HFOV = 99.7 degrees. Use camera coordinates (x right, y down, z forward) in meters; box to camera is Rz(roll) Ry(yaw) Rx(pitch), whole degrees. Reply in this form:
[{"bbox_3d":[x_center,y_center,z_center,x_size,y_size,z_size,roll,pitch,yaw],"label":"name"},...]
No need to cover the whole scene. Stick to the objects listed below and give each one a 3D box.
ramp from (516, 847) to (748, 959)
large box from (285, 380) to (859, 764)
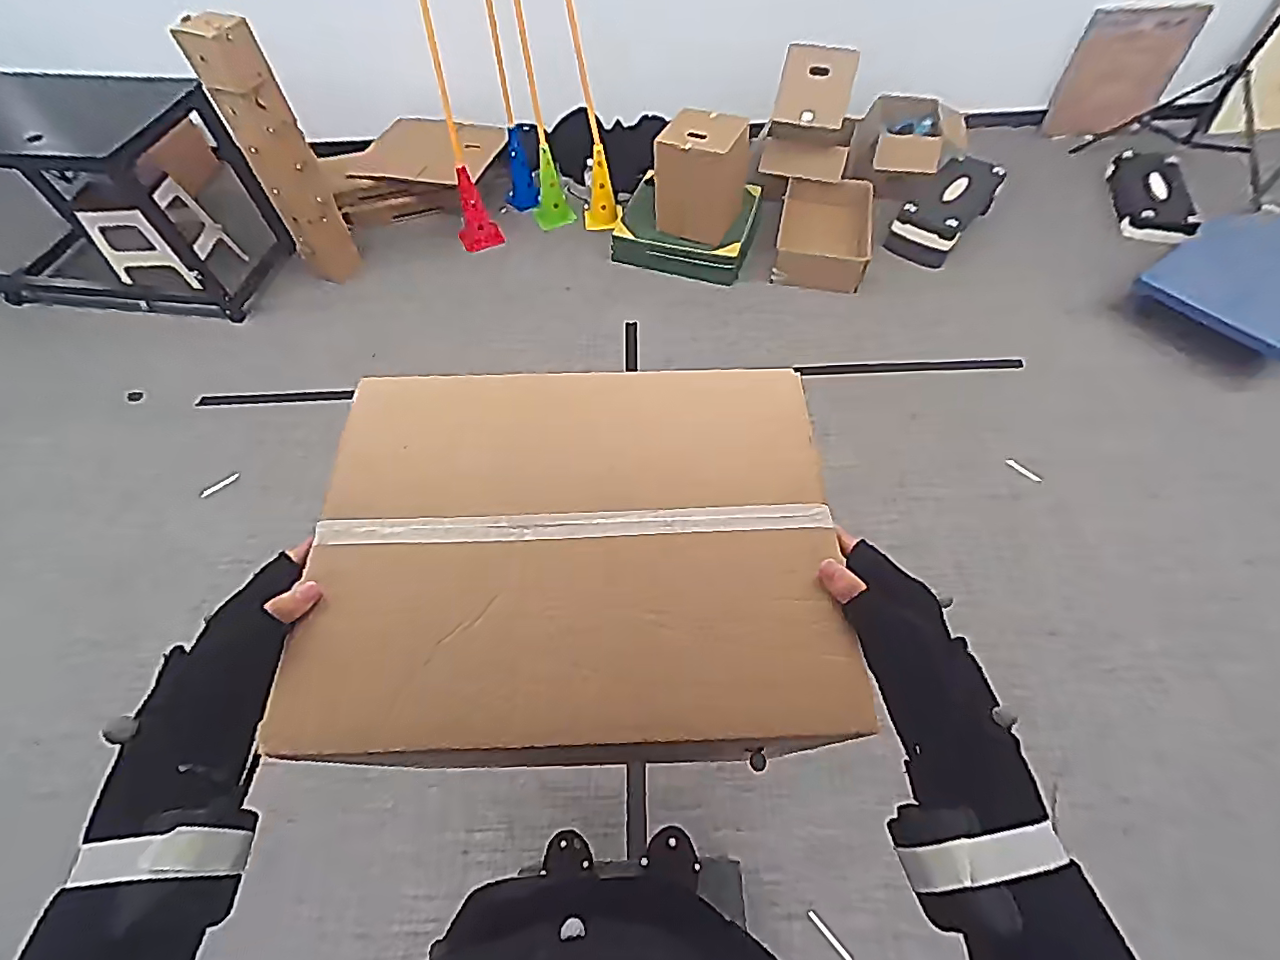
[{"bbox_3d":[-0.004,1.290,1.016,0.509,0.206,0.991,-3,58,-2],"label":"ramp"},{"bbox_3d":[-0.049,0.117,0.571,0.408,0.320,0.320,-2,60,-1],"label":"large box"}]
